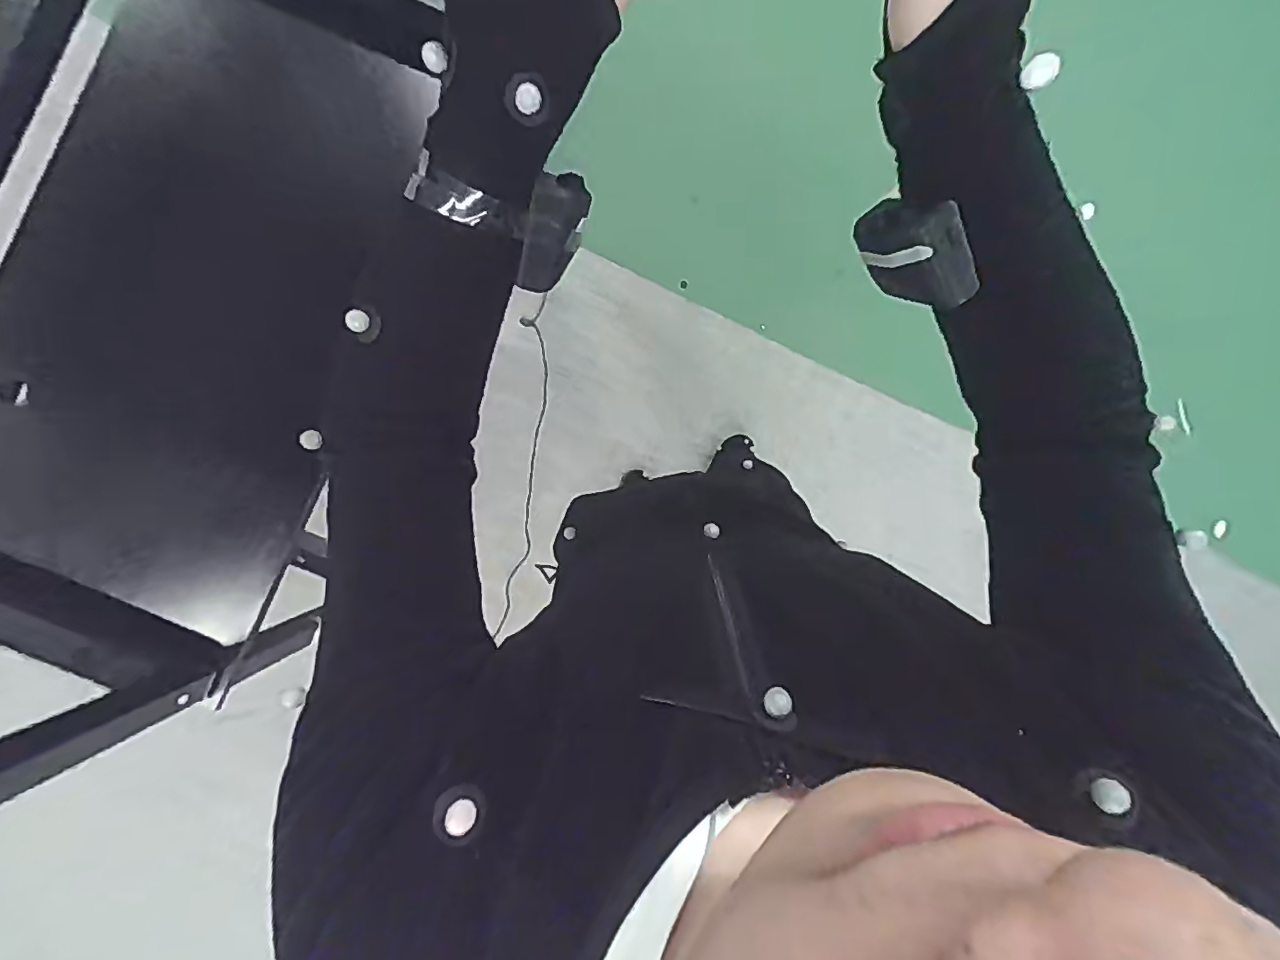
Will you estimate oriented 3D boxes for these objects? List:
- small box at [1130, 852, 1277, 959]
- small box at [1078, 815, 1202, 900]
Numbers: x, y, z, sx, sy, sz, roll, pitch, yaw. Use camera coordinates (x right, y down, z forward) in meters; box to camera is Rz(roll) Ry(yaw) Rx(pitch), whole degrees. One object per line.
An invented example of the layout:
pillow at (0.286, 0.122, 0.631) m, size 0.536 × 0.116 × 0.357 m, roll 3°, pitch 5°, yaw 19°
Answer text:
small box at (1.430, 1.104, 1.385) m, size 0.179 × 0.176 × 0.168 m, roll 28°, pitch 88°, yaw -2°
small box at (1.421, 1.104, 1.550) m, size 0.179 × 0.176 × 0.168 m, roll 28°, pitch 88°, yaw -2°
